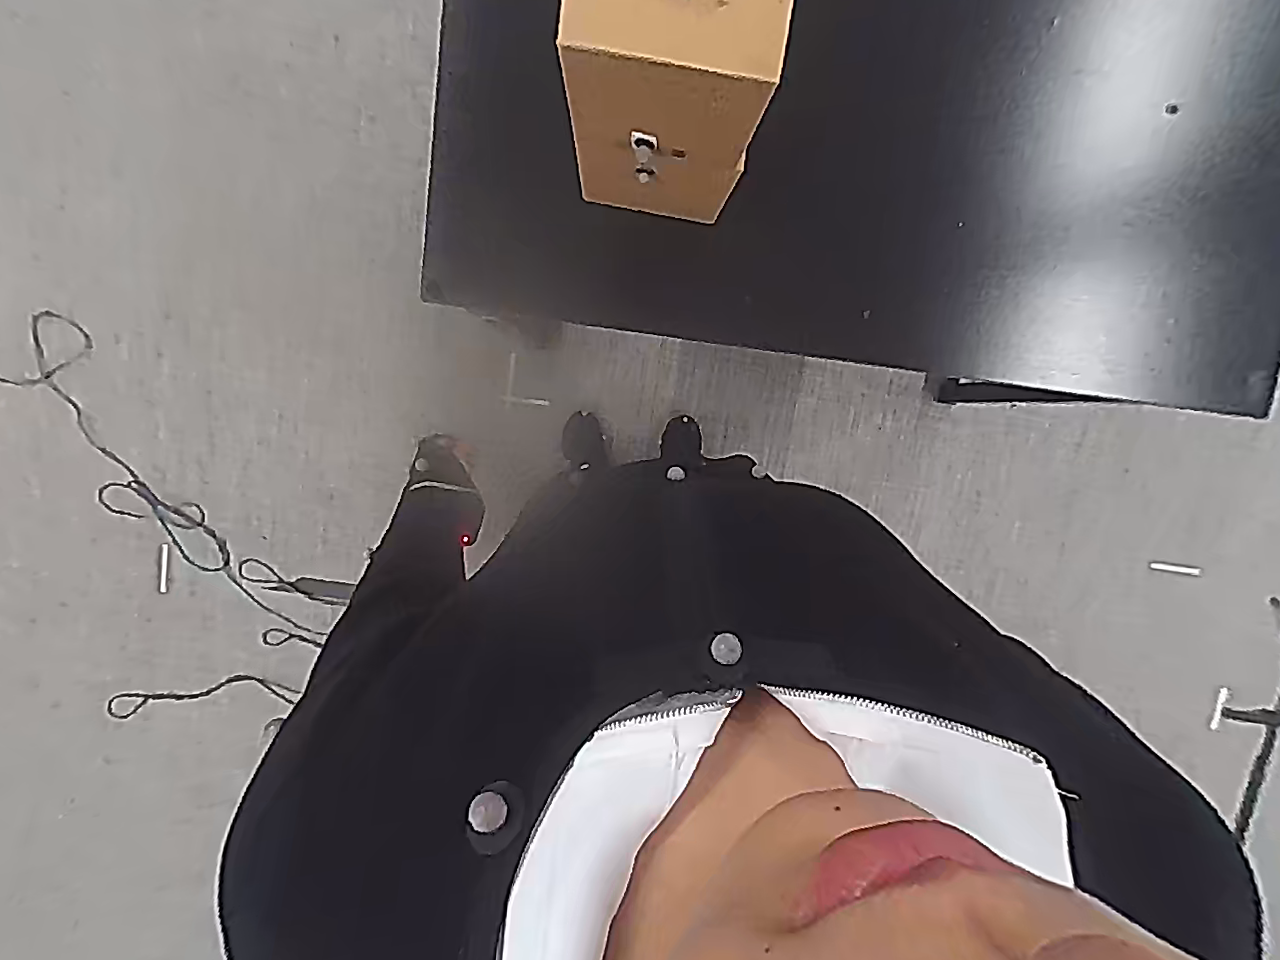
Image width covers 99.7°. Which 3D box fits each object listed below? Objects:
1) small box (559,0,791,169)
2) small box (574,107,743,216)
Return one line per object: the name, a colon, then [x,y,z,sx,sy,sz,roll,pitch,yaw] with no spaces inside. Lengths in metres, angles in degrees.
small box: [0.031,-0.402,0.461,0.168,0.176,0.179,8,98,-2]
small box: [0.027,-0.425,0.621,0.179,0.176,0.168,8,98,-4]
